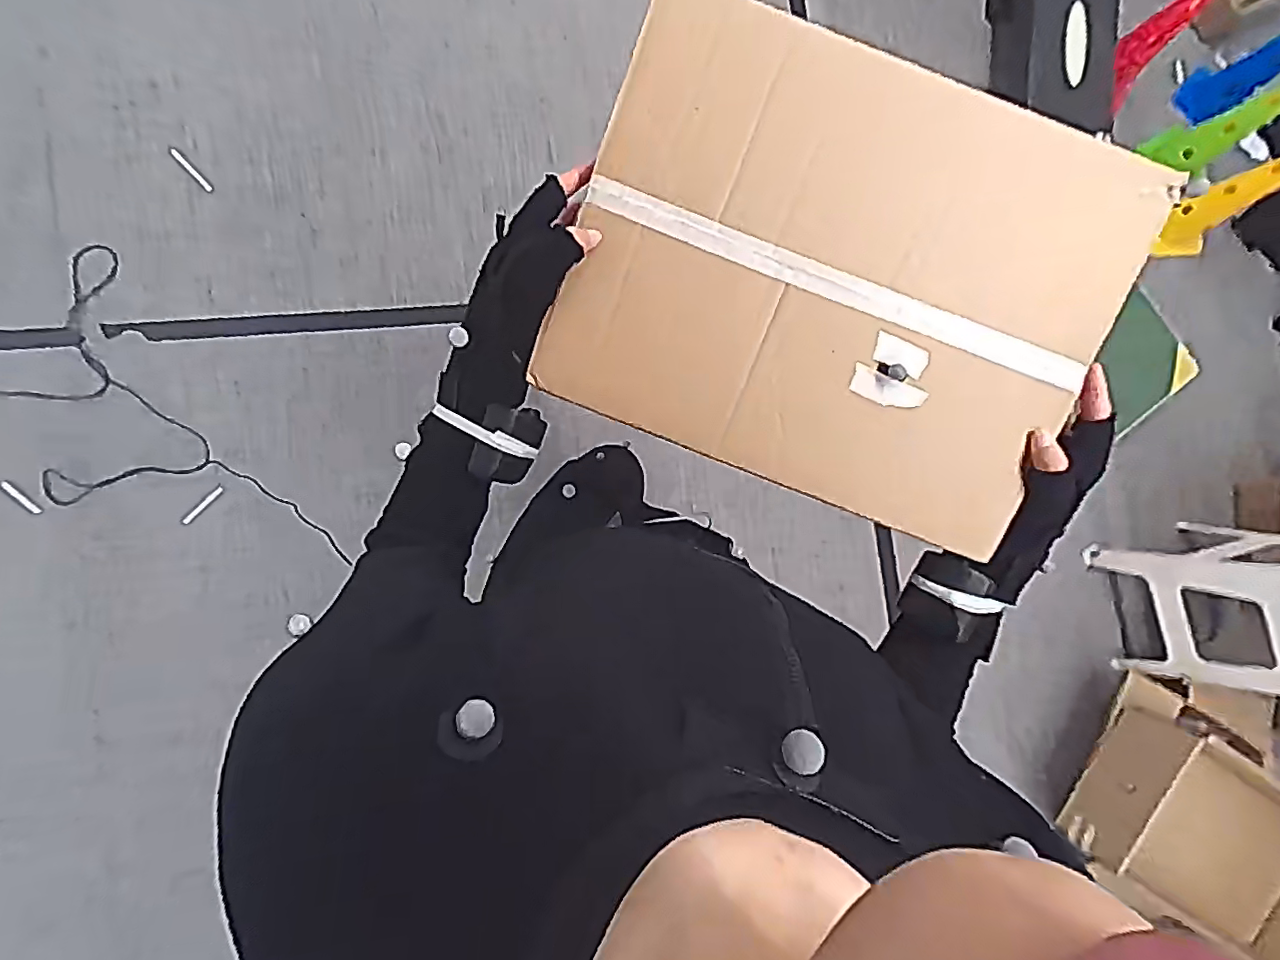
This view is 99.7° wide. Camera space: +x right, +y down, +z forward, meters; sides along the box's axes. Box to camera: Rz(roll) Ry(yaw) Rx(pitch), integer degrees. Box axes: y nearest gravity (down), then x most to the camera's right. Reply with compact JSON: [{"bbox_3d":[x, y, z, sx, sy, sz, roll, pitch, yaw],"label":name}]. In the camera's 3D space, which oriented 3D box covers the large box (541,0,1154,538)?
[{"bbox_3d":[0.157,-0.182,0.576,0.408,0.320,0.320,22,101,-2],"label":"large box"}]
